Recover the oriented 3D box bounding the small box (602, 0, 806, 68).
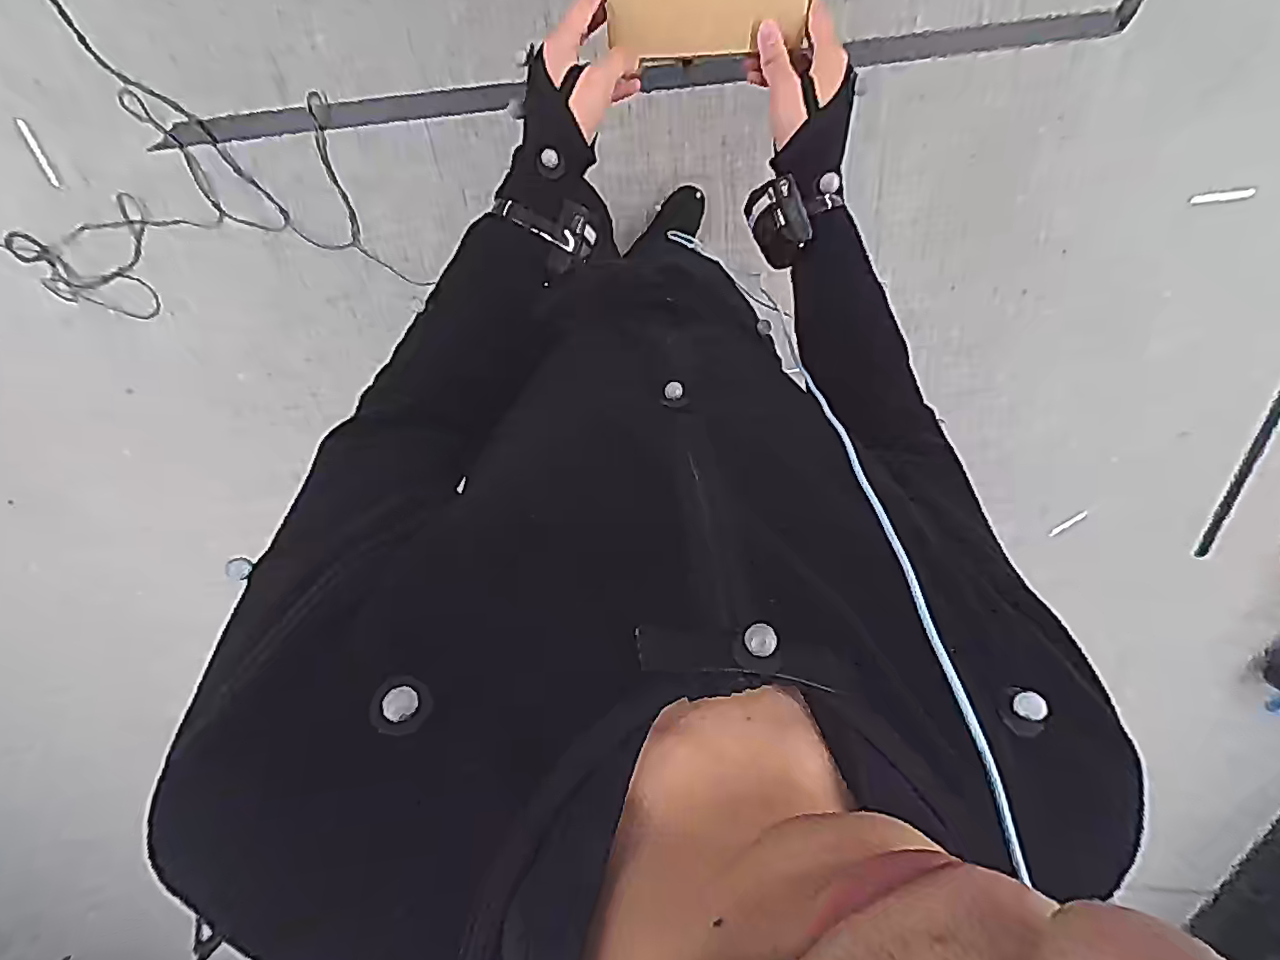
[{"bbox_3d":[0.048,-0.470,0.467,0.168,0.176,0.179,-4,127,-2],"label":"small box"}]
